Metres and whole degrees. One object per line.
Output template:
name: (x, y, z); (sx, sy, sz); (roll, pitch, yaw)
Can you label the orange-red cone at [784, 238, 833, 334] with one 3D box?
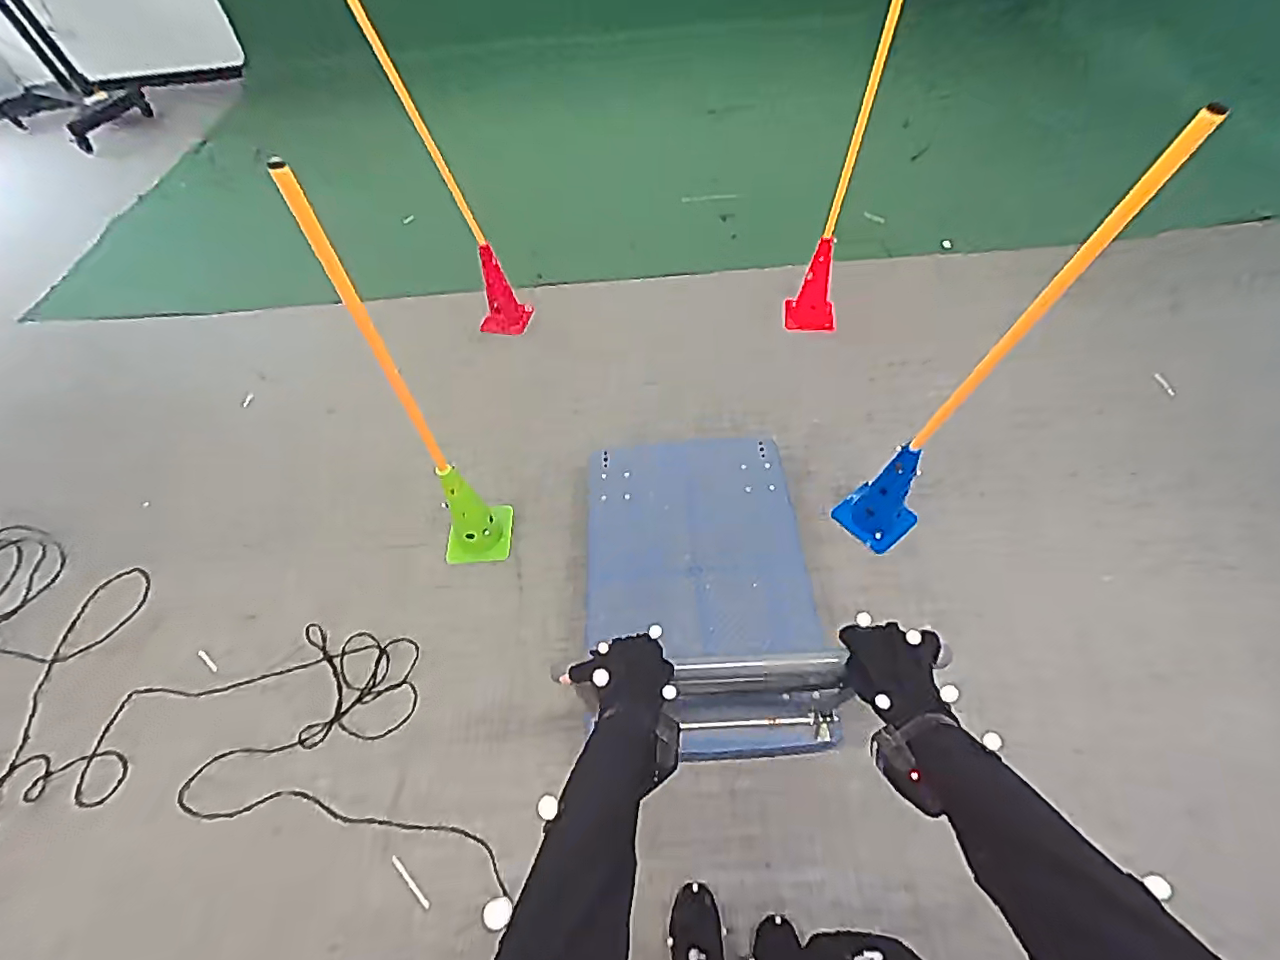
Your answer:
orange-red cone: (0.692, -0.777, 2.127); (0.198, 0.360, 0.199); (5, 56, 8)
